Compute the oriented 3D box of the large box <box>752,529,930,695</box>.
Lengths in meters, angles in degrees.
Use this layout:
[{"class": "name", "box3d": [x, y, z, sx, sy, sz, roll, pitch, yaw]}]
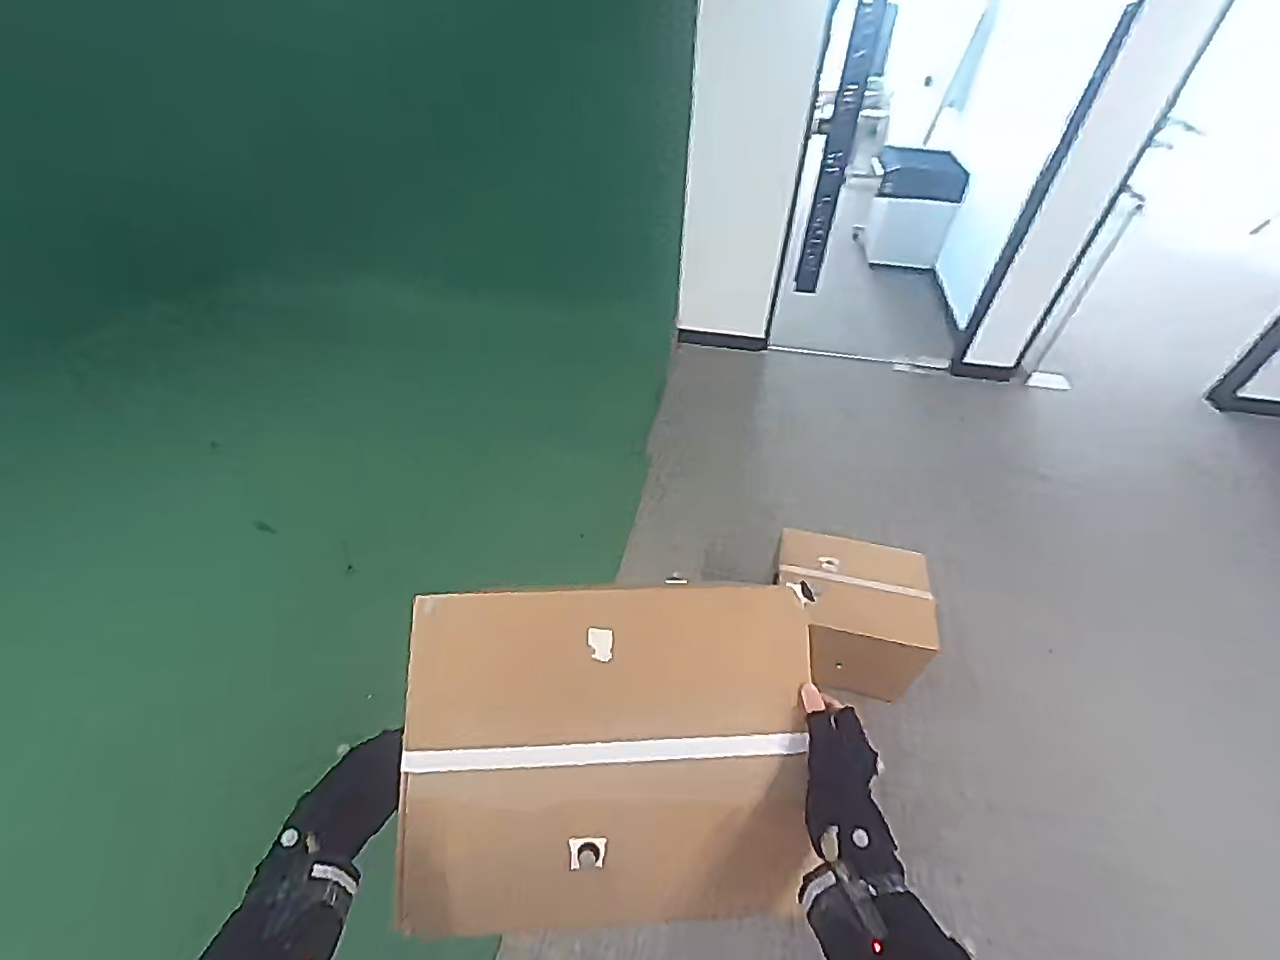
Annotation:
[{"class": "large box", "box3d": [0.562, 0.386, 1.581, 0.408, 0.320, 0.320, 10, 45, 9]}]
